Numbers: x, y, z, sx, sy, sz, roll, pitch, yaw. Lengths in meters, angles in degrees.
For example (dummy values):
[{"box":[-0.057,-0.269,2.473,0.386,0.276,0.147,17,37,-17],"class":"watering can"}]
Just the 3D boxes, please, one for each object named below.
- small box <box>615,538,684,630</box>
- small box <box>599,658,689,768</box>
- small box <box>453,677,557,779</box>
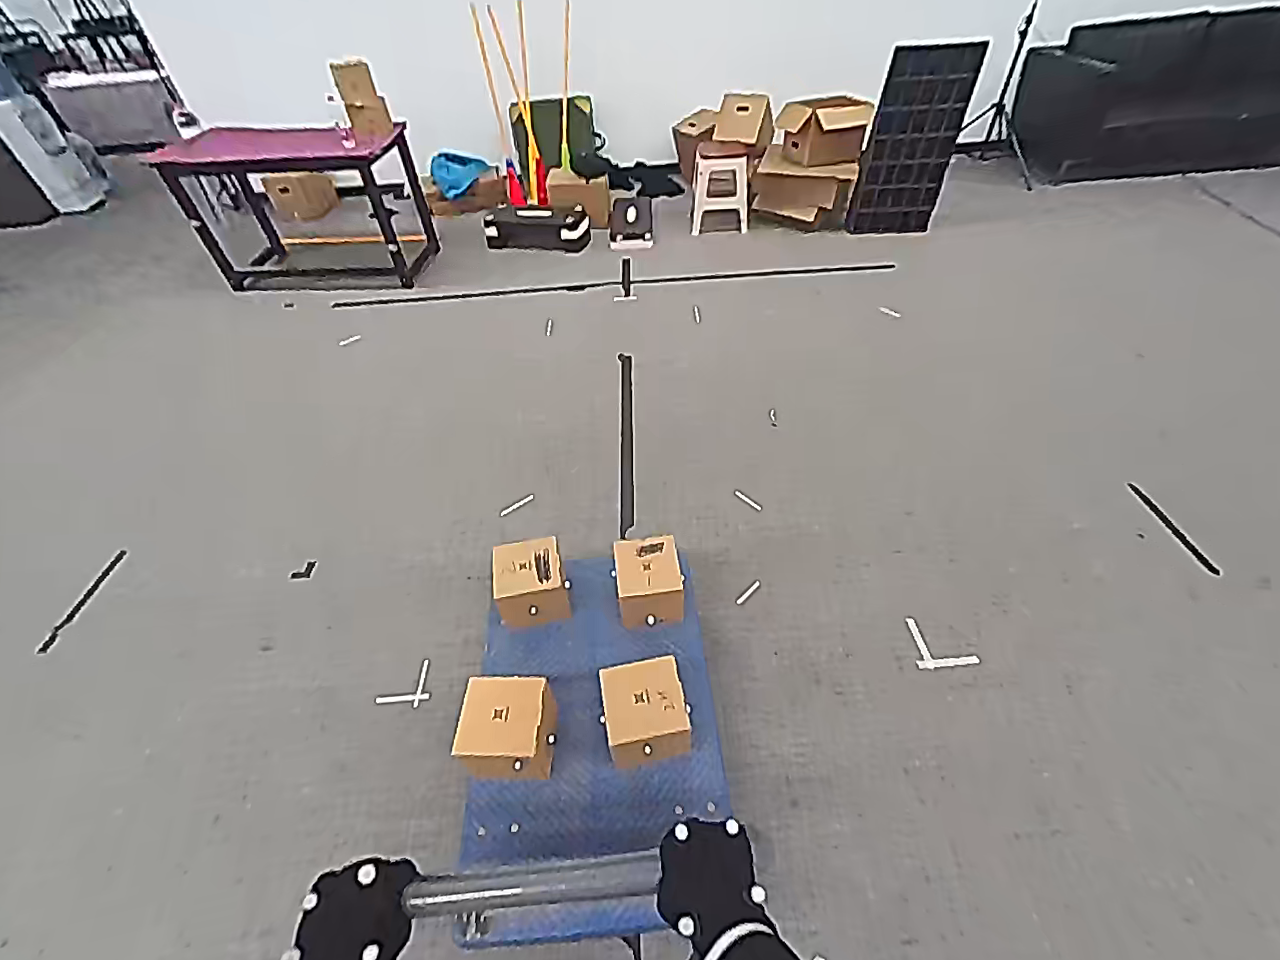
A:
[{"box":[0.024,0.281,1.464,0.168,0.176,0.179,-6,47,-2],"class":"small box"},{"box":[0.011,0.531,1.225,0.179,0.176,0.168,-9,46,-5],"class":"small box"},{"box":[-0.295,0.561,1.219,0.179,0.176,0.168,0,46,2],"class":"small box"}]
